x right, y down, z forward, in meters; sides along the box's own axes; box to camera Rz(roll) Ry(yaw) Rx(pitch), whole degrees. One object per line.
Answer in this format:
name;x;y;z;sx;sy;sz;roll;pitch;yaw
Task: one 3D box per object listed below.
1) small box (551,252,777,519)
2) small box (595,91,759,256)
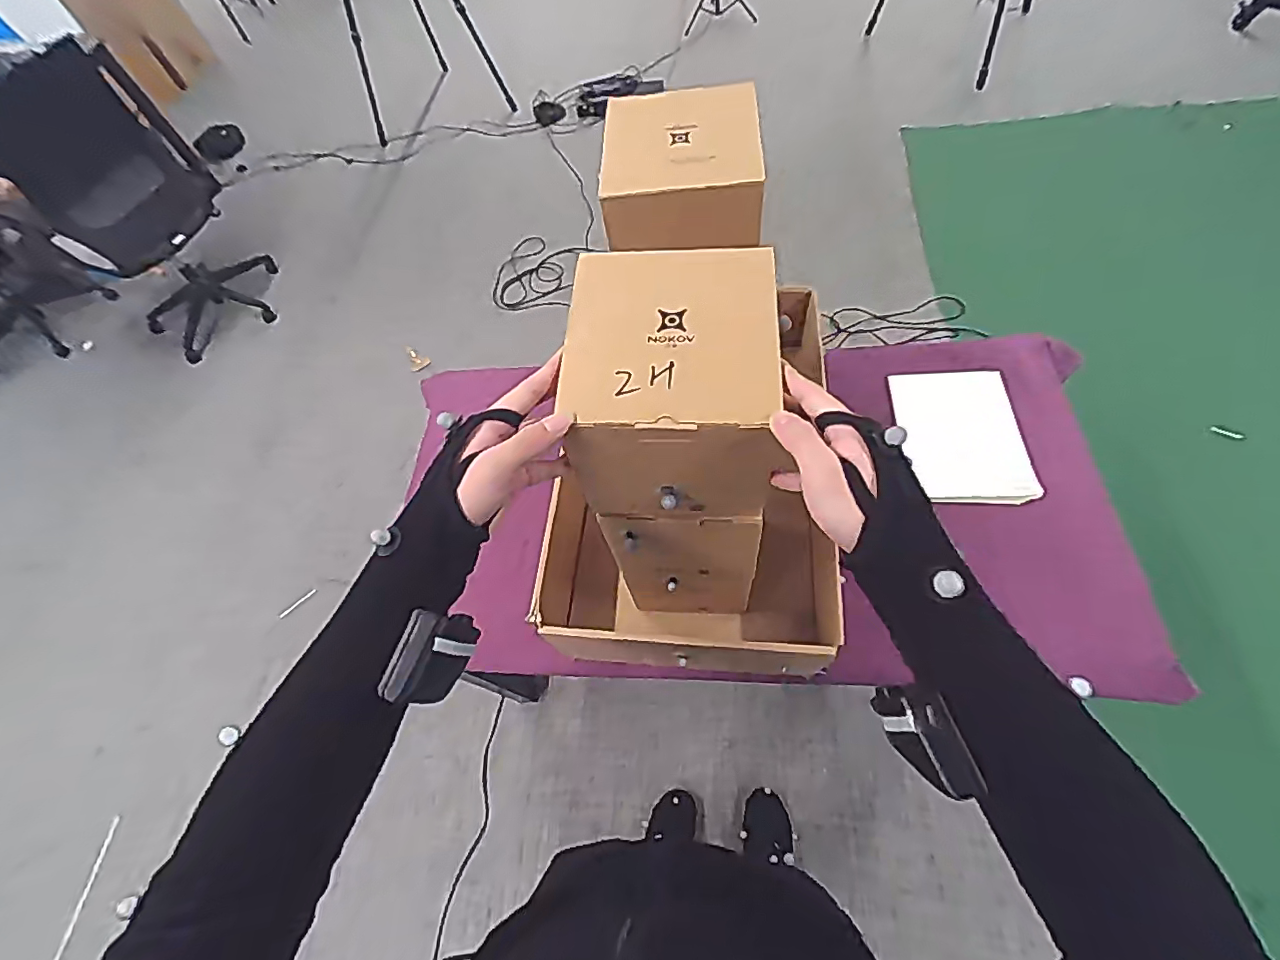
small box;0.029;-0.079;0.493;0.168;0.176;0.179;1;63;7
small box;0.048;-0.317;0.640;0.168;0.176;0.179;-2;63;7
